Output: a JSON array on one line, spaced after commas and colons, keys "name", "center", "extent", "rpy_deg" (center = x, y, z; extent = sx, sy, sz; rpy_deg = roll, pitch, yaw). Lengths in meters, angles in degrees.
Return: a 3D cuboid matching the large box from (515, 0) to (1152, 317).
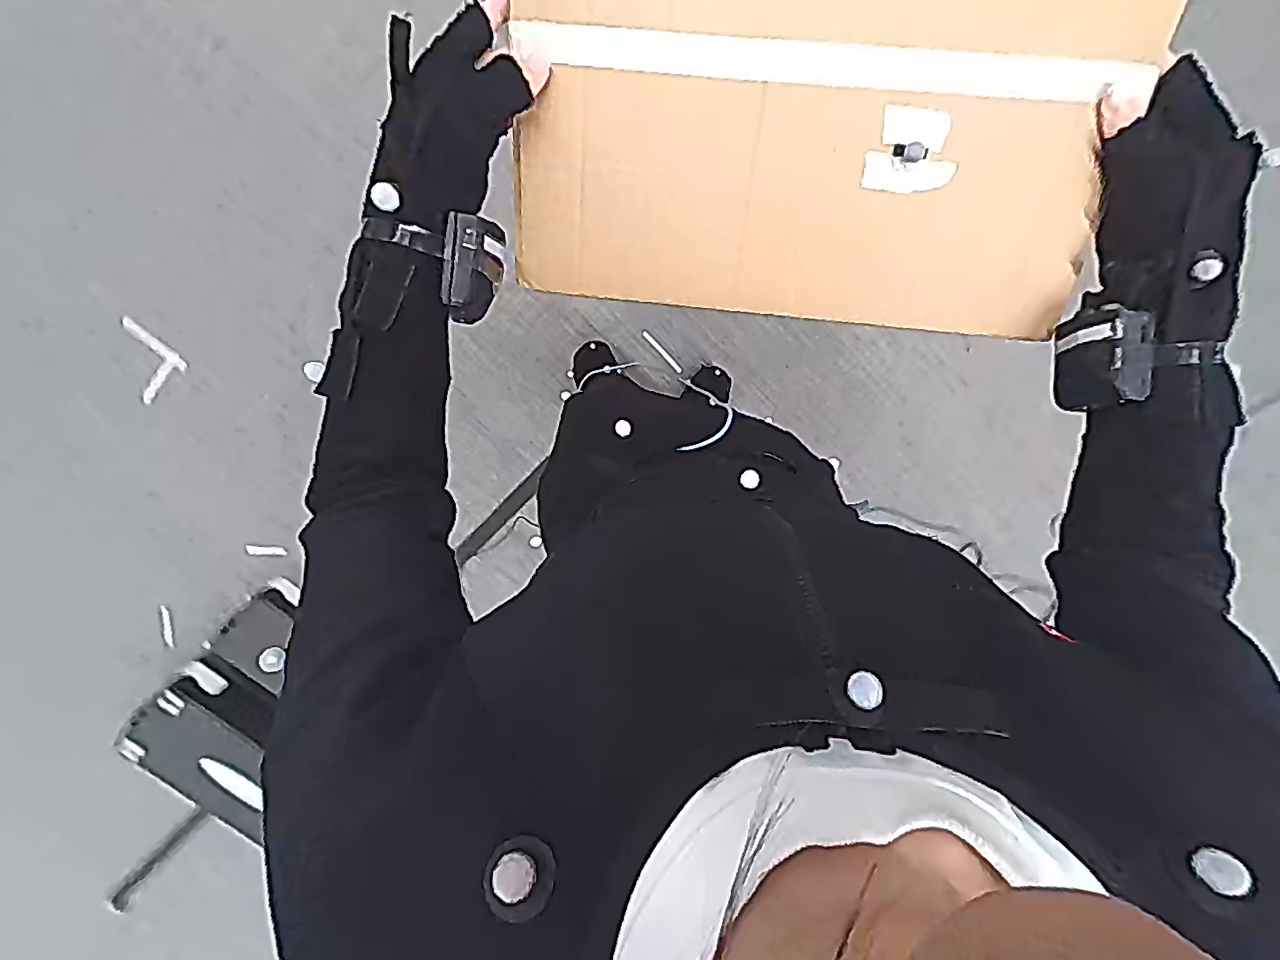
[{"name": "large box", "center": [0.124, -0.339, 0.492], "extent": [0.408, 0.320, 0.320], "rpy_deg": [5, 116, 3]}]
